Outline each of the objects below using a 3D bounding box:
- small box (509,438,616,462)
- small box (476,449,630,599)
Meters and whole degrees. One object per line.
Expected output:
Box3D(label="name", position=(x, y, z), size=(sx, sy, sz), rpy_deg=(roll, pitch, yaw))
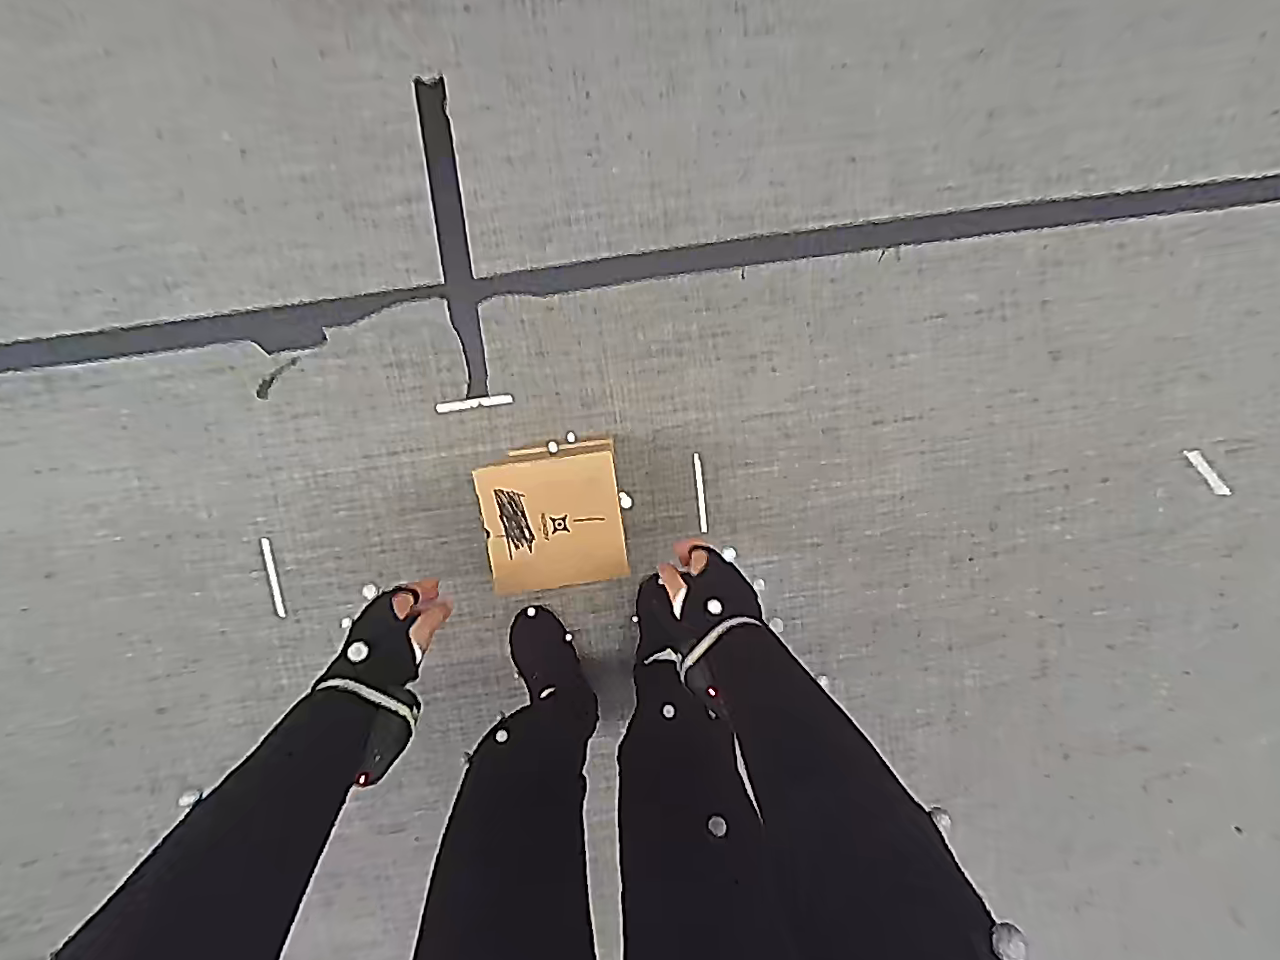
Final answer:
Box3D(label="small box", position=(-0.118, 0.028, 0.923), size=(0.168, 0.176, 0.179), rpy_deg=(-6, 99, -3))
Box3D(label="small box", position=(-0.112, 0.051, 0.759), size=(0.179, 0.176, 0.168), rpy_deg=(-8, 98, -3))
